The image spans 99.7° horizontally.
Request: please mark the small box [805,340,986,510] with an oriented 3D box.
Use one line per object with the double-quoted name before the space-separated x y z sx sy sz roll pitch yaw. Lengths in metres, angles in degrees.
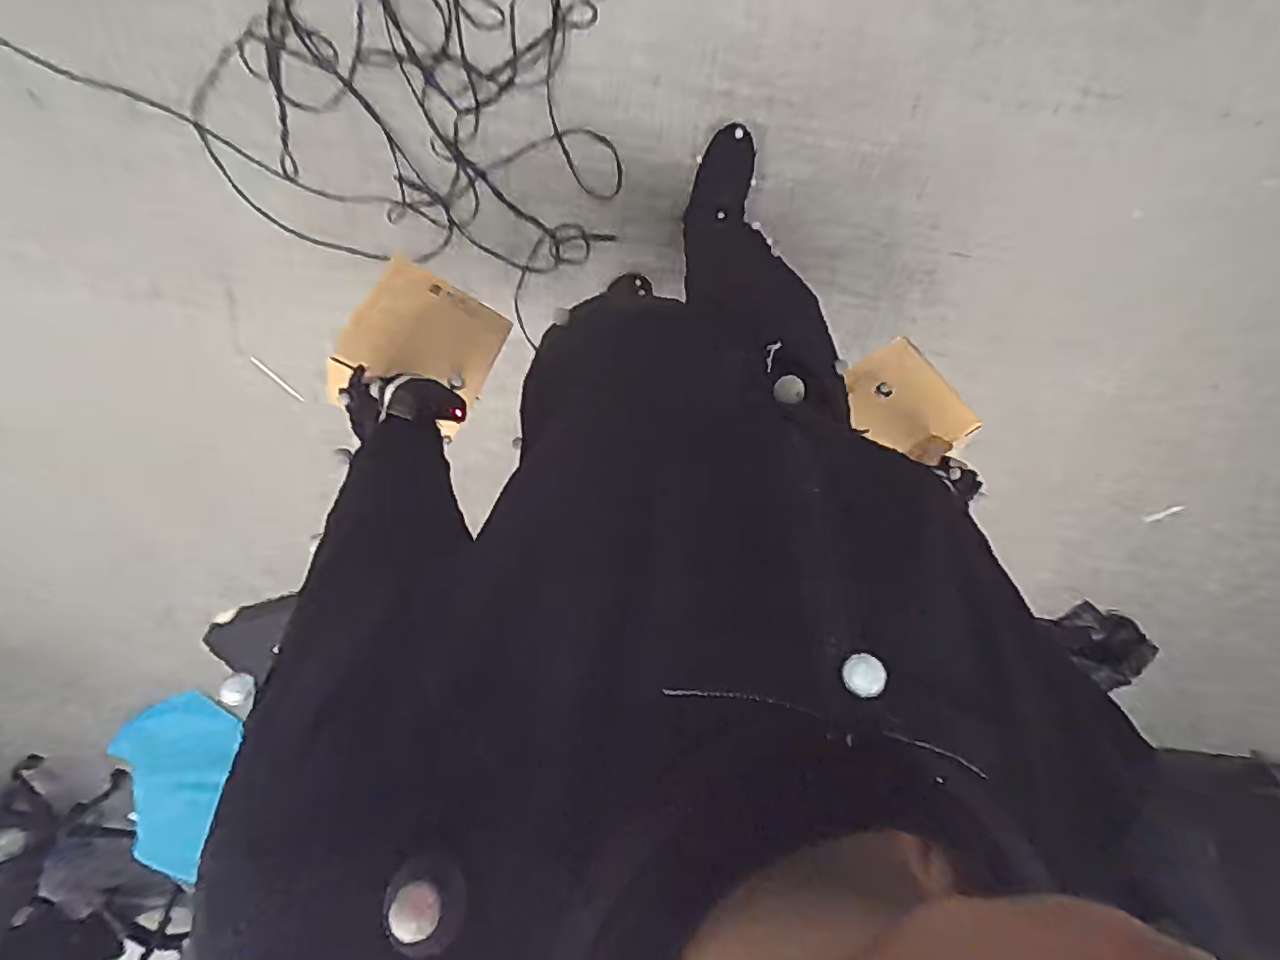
"small box" 0.365 -0.078 0.811 0.168 0.176 0.179 -36 160 8
